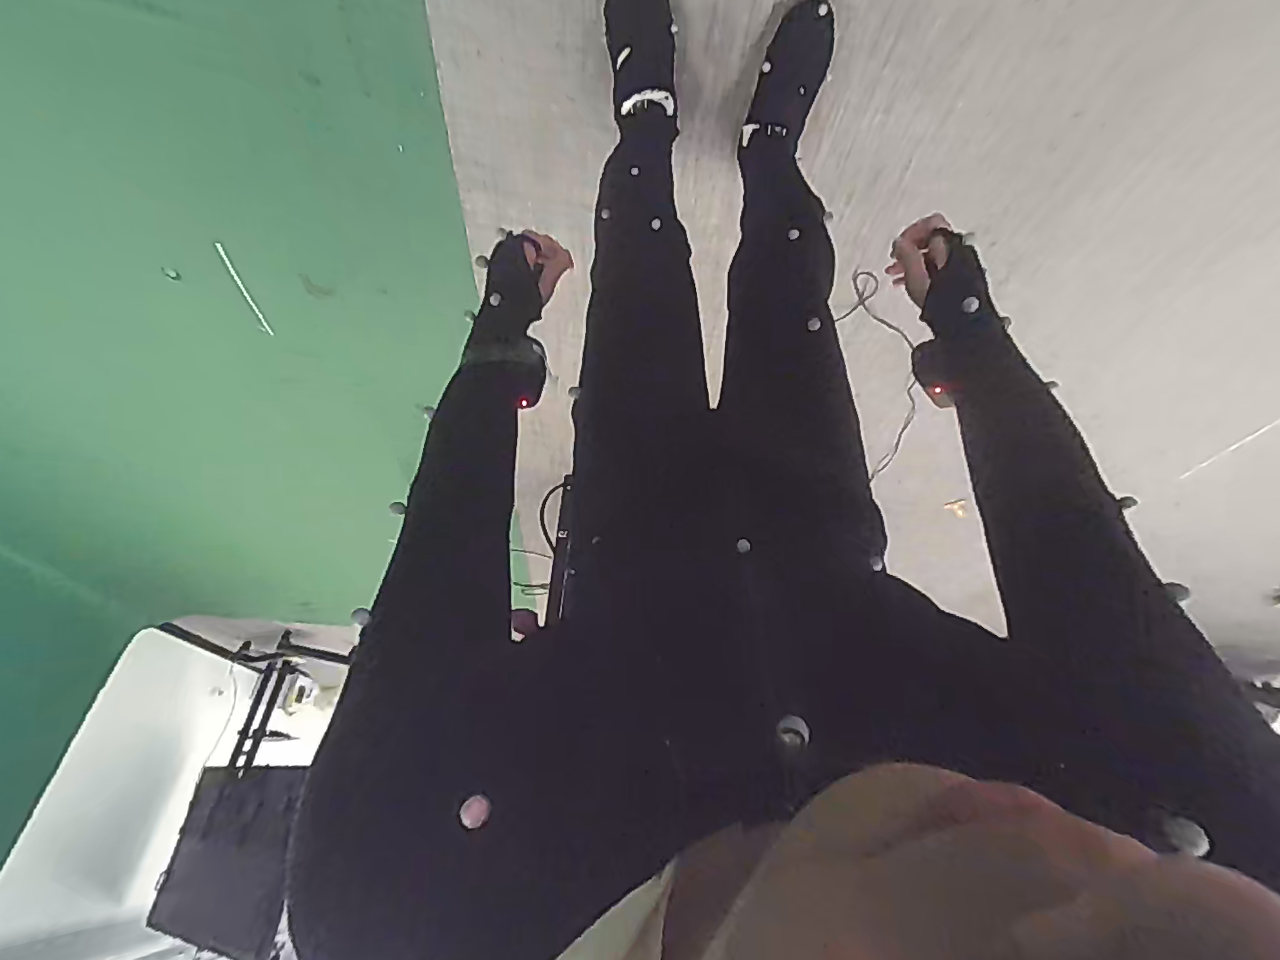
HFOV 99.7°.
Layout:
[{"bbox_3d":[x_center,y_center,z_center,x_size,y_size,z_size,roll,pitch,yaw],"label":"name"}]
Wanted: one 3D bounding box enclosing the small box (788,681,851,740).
[{"bbox_3d":[0.631,0.822,1.925,0.168,0.176,0.179,4,150,1],"label":"small box"}]
